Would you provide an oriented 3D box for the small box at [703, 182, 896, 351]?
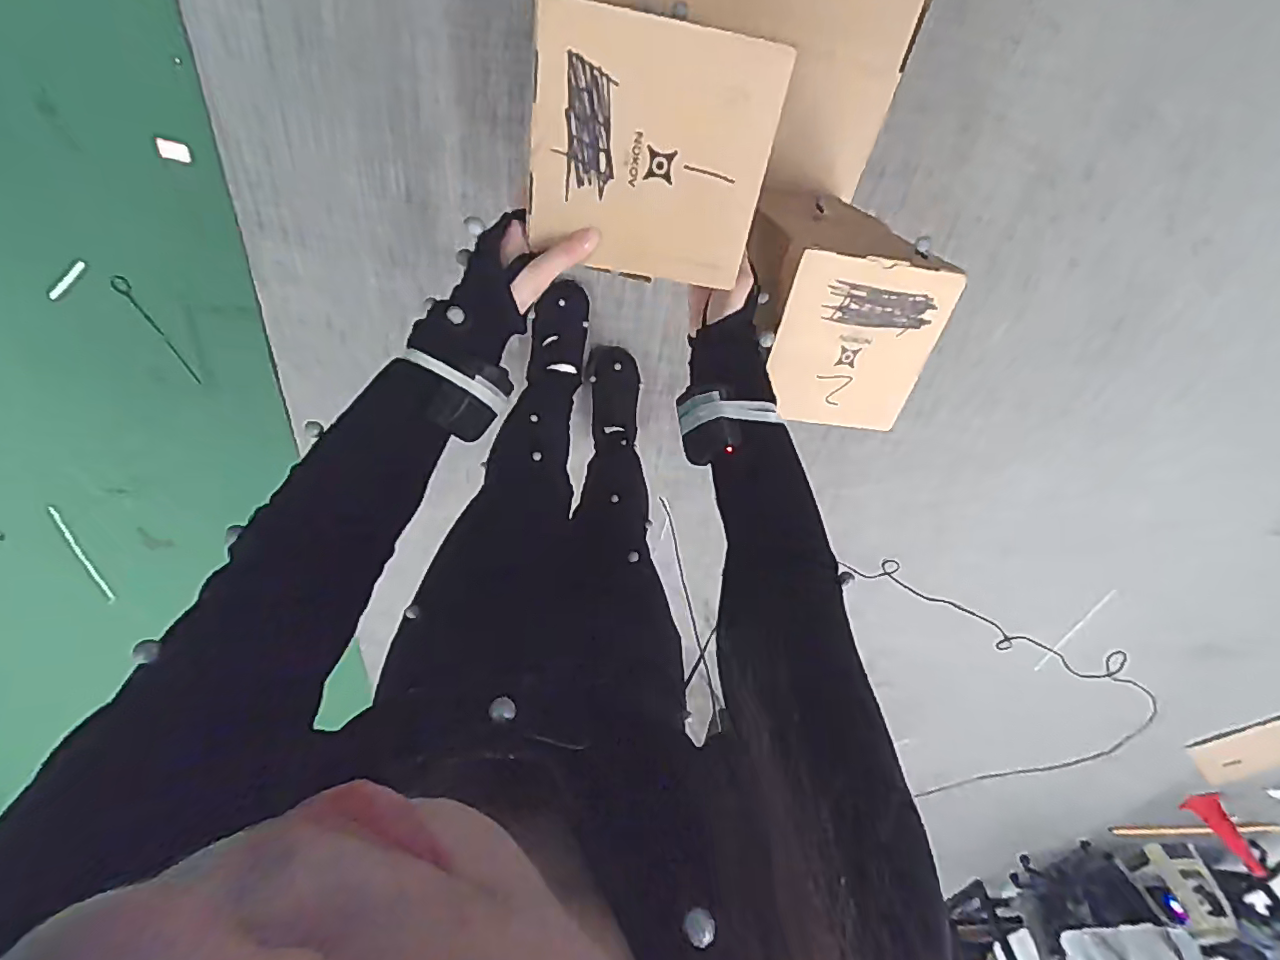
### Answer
[{"bbox_3d":[0.196,-0.291,0.725,0.179,0.176,0.168,5,127,-9],"label":"small box"}]

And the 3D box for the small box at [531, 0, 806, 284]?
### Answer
[{"bbox_3d":[0.011,-0.288,0.461,0.179,0.176,0.168,7,127,-7],"label":"small box"}]
